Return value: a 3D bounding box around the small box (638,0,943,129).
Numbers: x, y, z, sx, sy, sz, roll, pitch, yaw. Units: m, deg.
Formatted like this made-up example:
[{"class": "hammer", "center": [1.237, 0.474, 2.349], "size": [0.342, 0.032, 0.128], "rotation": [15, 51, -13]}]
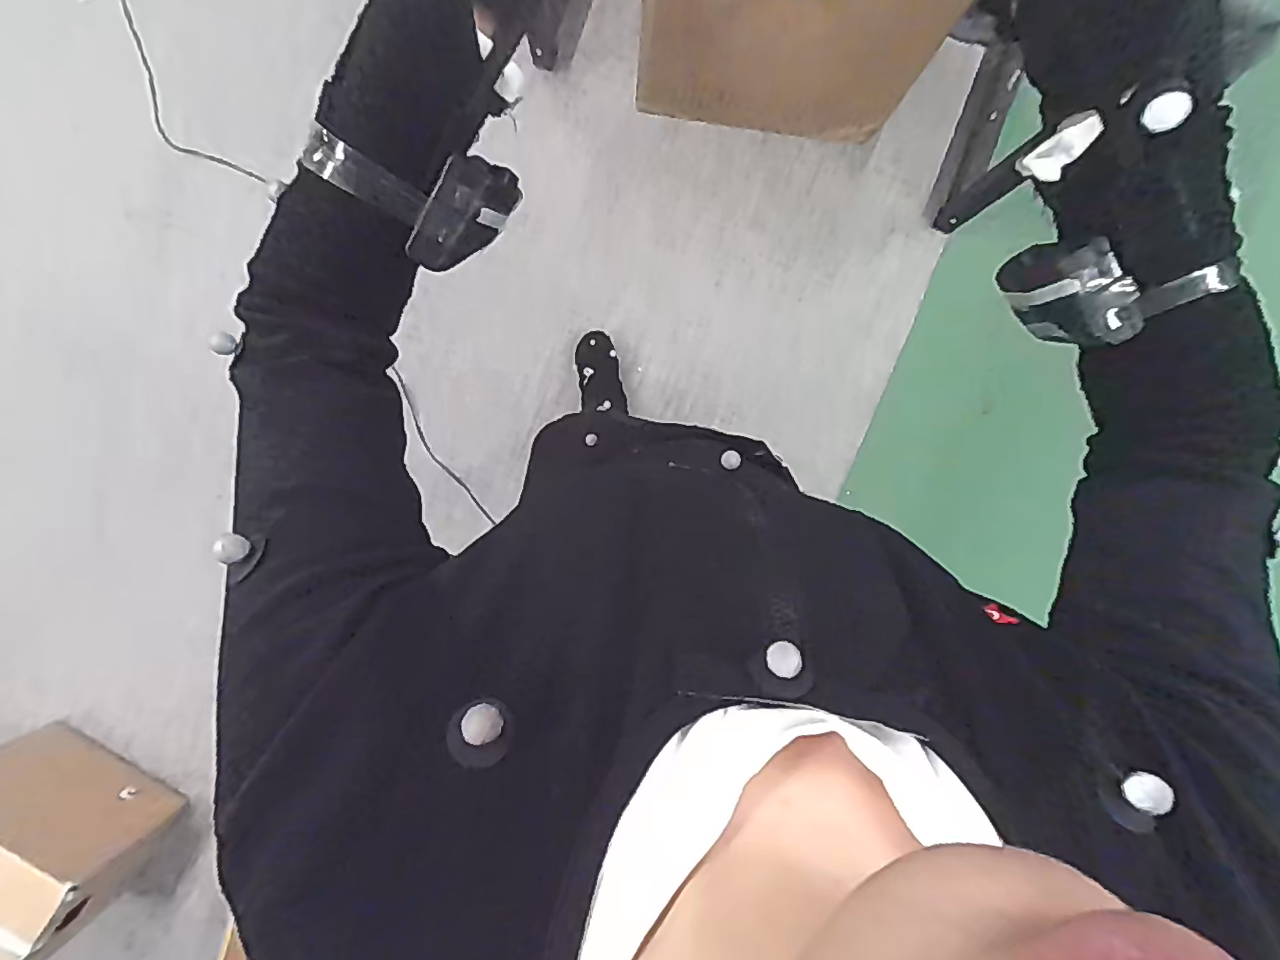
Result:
[{"class": "small box", "center": [0.095, -0.347, 0.321], "size": [0.179, 0.176, 0.168], "rotation": [7, 89, -4]}]
